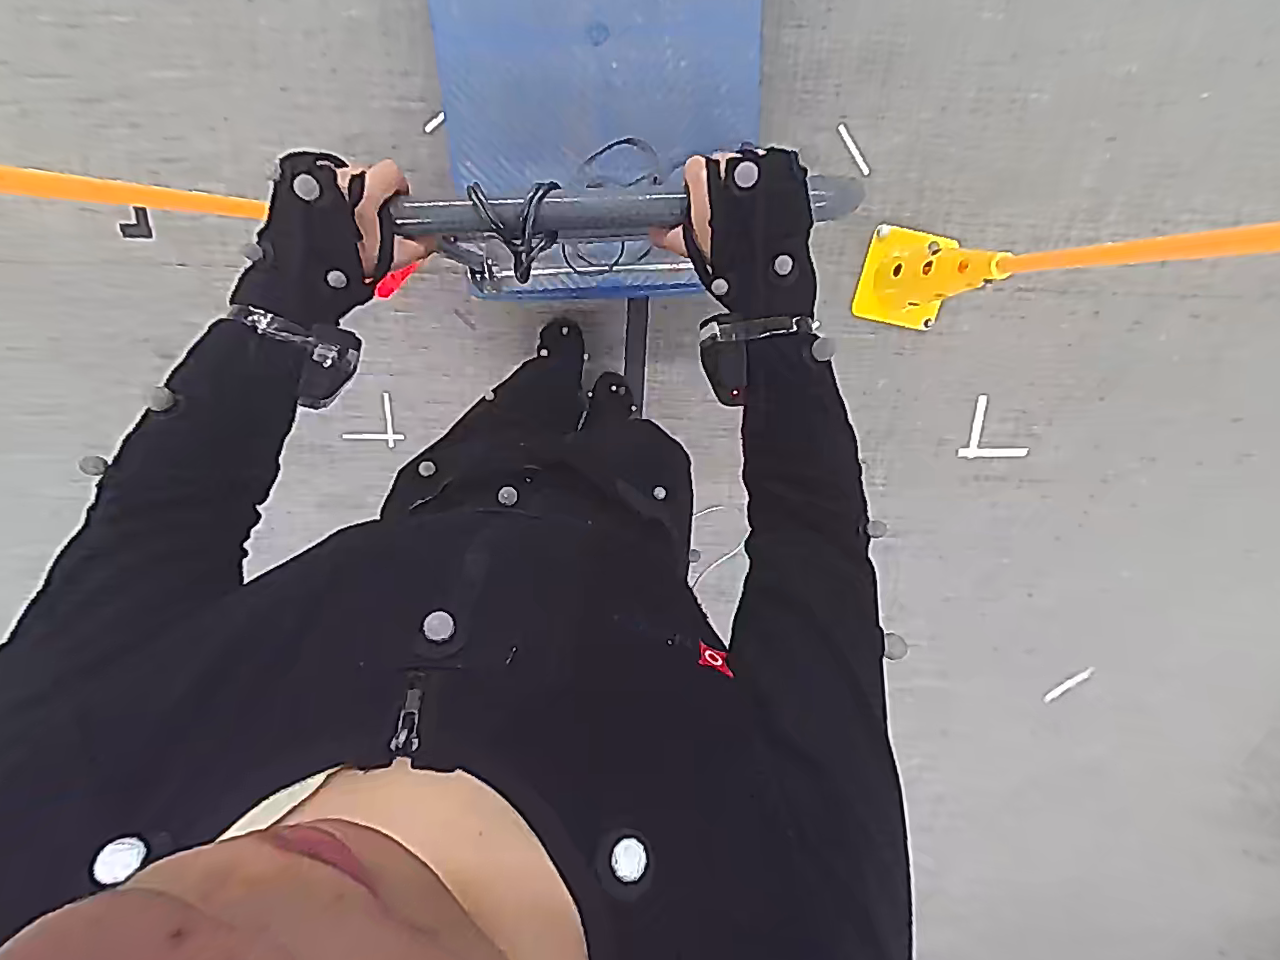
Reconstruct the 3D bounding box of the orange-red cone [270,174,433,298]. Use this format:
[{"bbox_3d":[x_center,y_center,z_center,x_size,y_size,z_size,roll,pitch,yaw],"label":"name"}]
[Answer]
[{"bbox_3d":[-0.579,-0.484,1.030,0.199,0.360,0.198,-41,104,10],"label":"orange-red cone"}]
